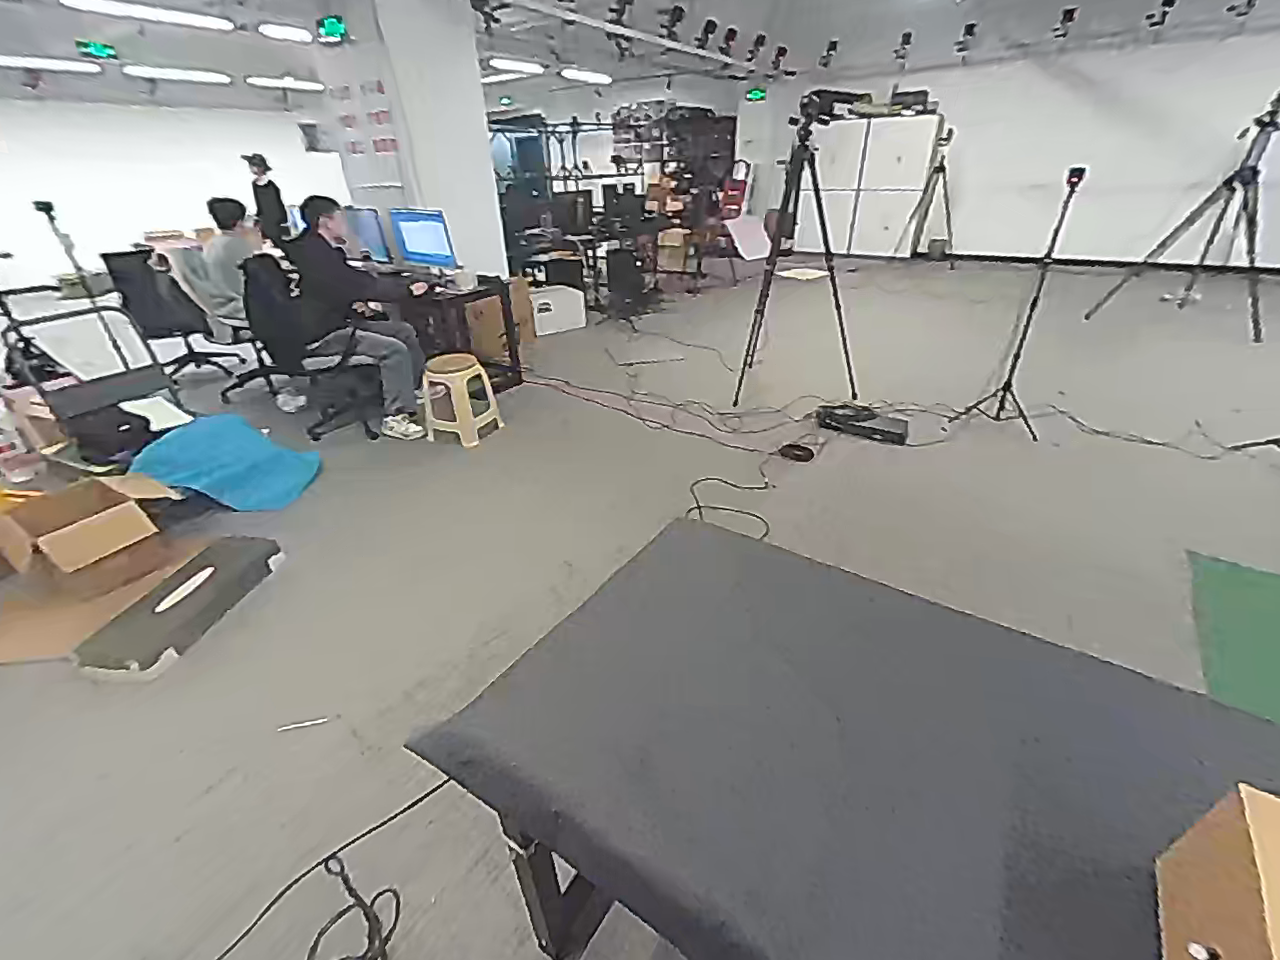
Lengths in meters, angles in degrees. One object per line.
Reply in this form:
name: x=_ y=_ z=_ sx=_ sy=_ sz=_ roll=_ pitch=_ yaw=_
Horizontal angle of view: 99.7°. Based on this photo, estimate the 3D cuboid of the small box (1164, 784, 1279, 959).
small box: x=0.569 y=0.403 z=0.435 sx=0.168 sy=0.176 sz=0.179 roll=19 pitch=40 yaw=30
